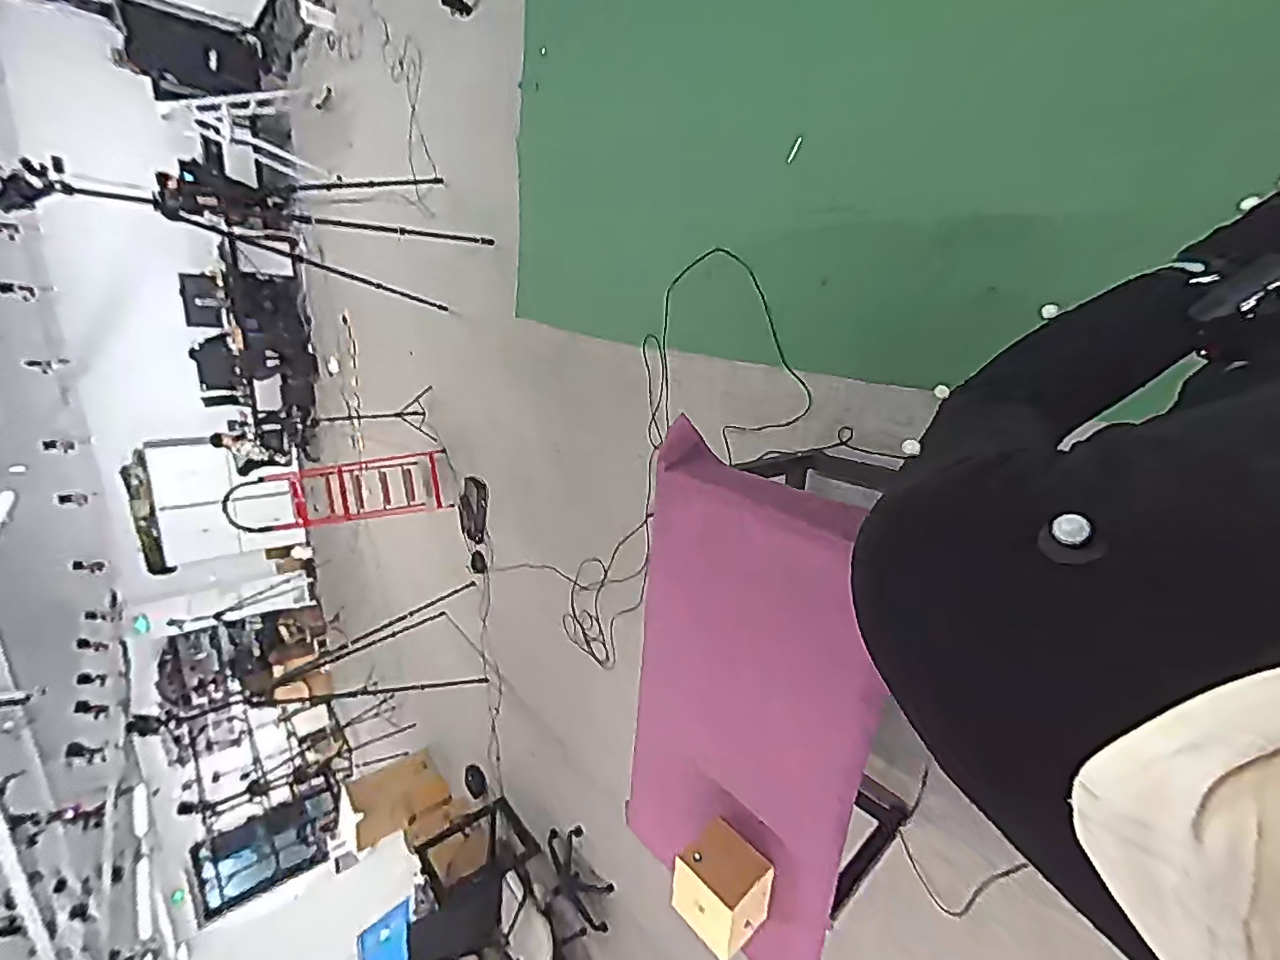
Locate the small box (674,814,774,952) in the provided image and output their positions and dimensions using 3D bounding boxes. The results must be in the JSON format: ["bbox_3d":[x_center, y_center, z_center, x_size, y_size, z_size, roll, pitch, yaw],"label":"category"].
[{"bbox_3d":[0.207,0.975,1.328,0.179,0.176,0.168,21,114,45],"label":"small box"}]
